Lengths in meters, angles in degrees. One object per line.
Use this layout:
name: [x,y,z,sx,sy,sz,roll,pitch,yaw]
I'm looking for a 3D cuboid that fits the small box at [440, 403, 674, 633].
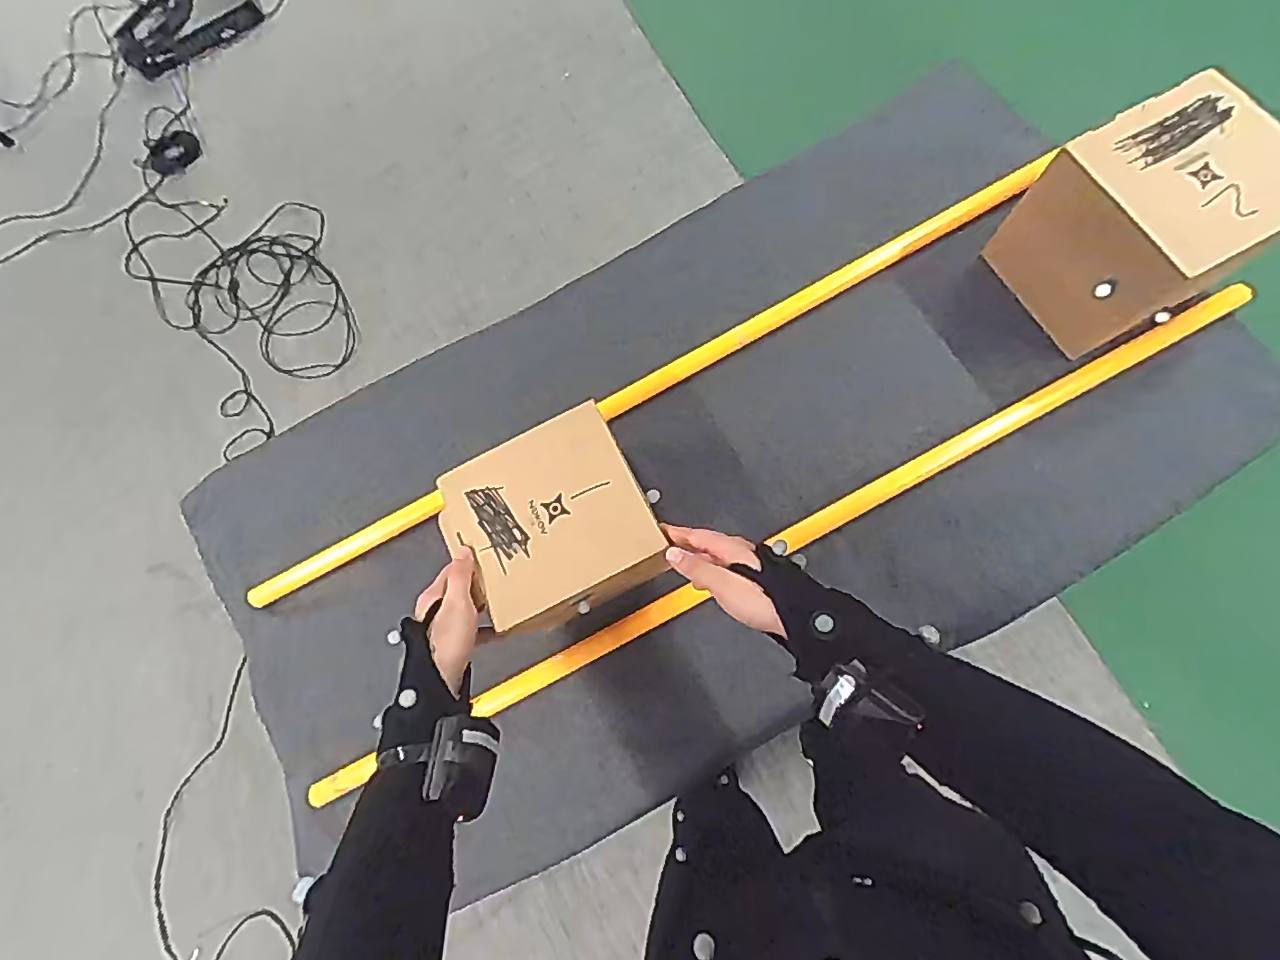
small box: [-0.075,0.051,0.581,0.179,0.176,0.168,-27,75,-1]
